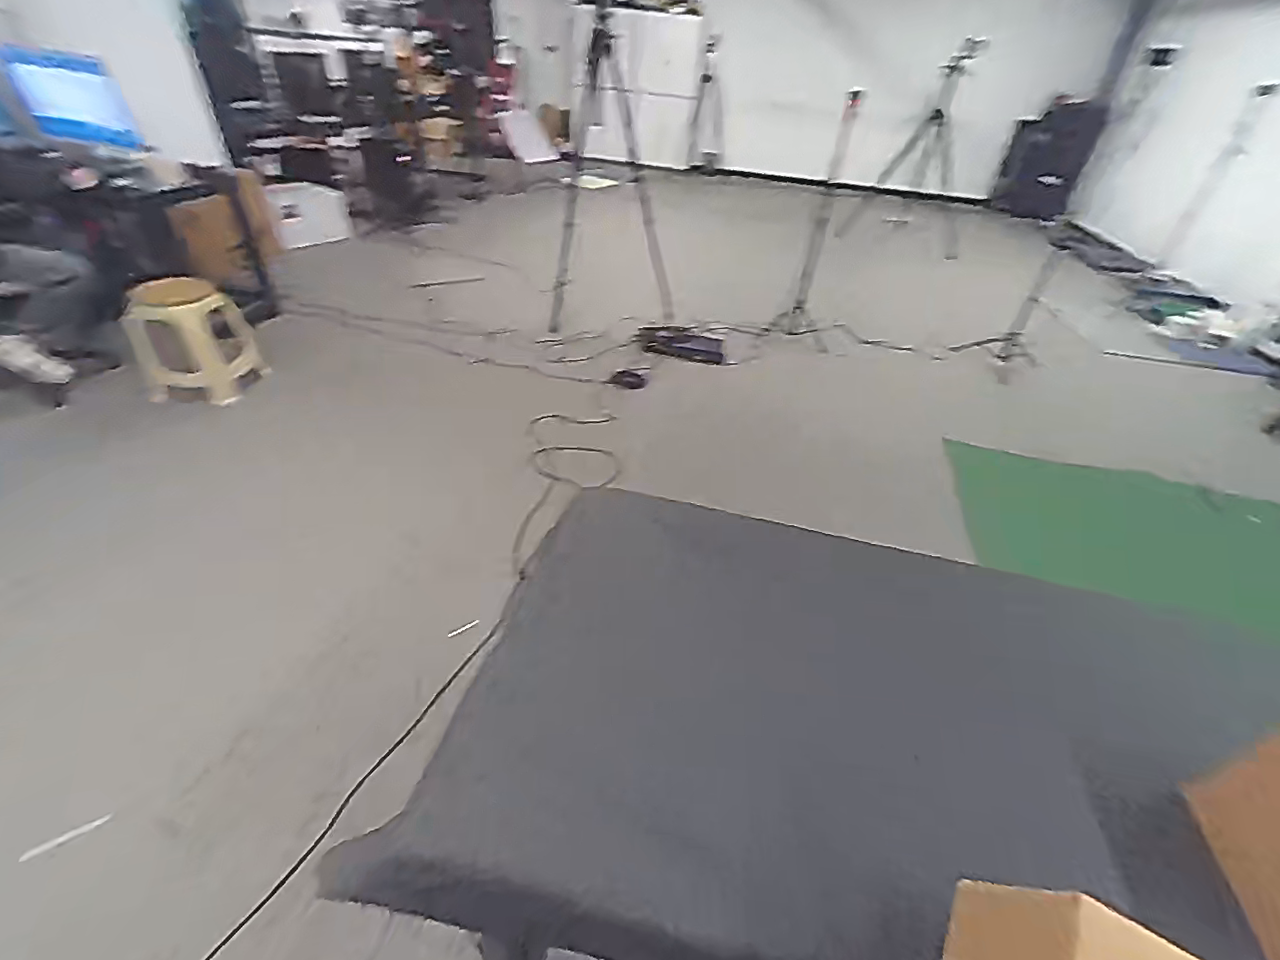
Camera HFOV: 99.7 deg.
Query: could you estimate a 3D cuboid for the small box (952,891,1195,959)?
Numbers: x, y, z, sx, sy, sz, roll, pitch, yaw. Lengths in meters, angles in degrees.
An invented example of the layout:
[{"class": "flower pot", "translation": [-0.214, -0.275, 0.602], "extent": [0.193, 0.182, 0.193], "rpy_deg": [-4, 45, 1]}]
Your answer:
[{"class": "small box", "translation": [0.329, 0.425, 0.373], "extent": [0.168, 0.176, 0.179], "rpy_deg": [26, 60, 14]}]
